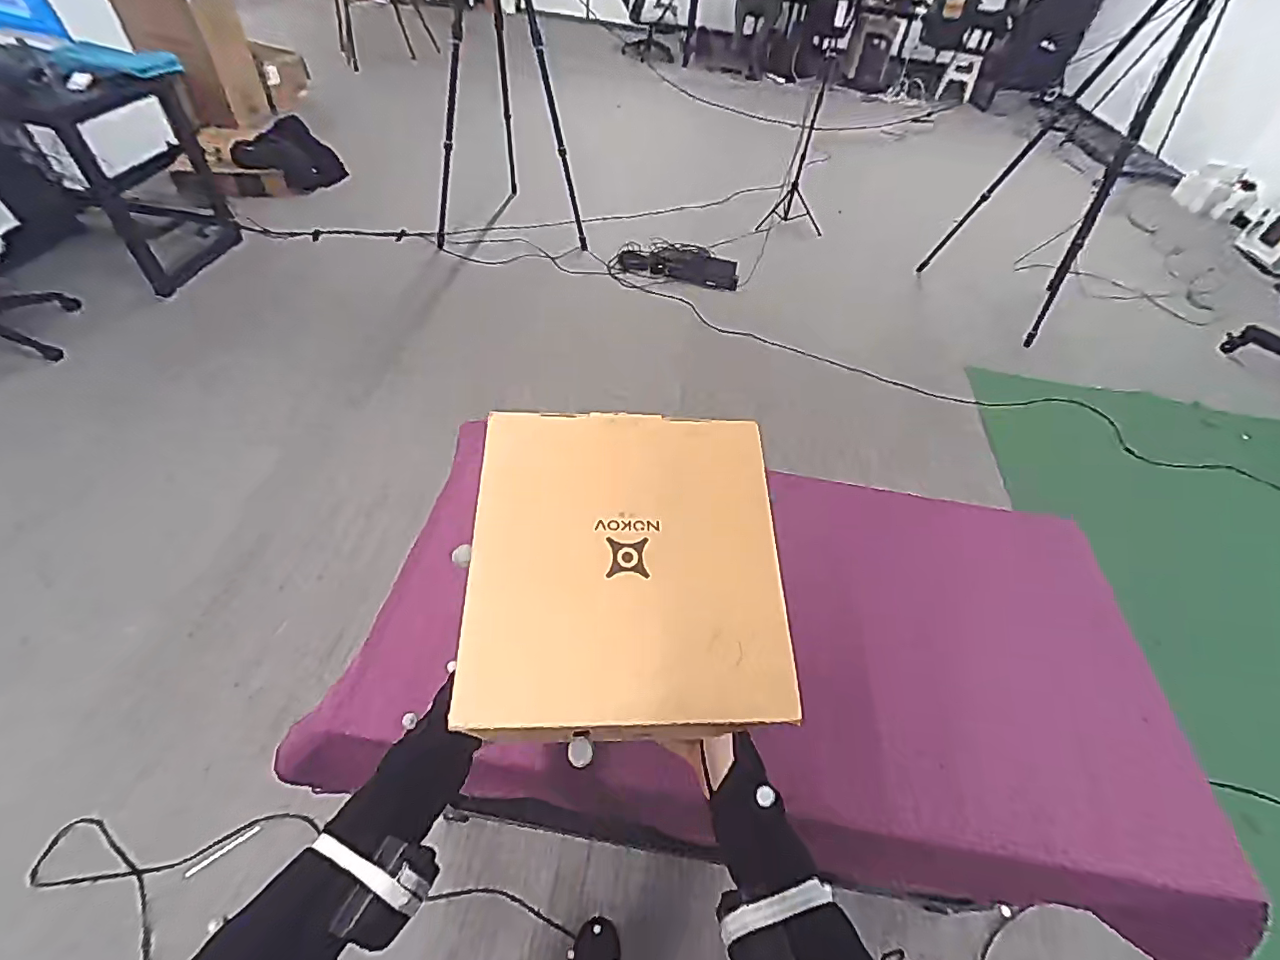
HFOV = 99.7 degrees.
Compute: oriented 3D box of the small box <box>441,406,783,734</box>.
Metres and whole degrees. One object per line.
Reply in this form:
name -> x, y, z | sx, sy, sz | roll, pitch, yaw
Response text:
small box -> -0.019, 0.071, 0.362 | 0.168, 0.176, 0.179 | 1, 61, -5
